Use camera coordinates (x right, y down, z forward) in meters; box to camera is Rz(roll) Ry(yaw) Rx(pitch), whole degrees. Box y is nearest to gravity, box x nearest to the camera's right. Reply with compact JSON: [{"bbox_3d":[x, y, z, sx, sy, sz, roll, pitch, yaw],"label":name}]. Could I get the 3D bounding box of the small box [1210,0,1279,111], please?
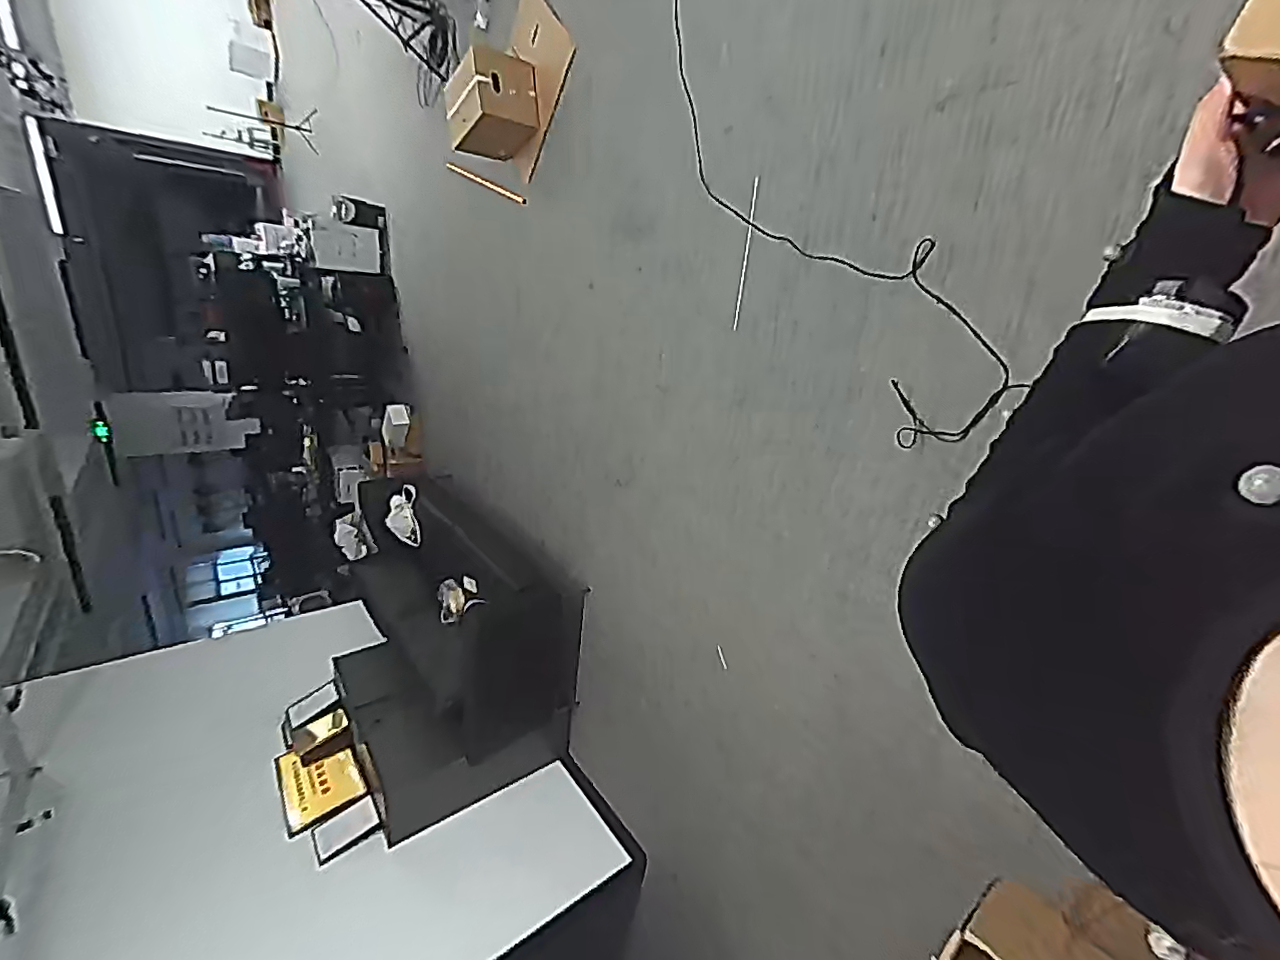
[{"bbox_3d":[0.434,-0.271,0.246,0.168,0.176,0.179,40,131,36],"label":"small box"}]
